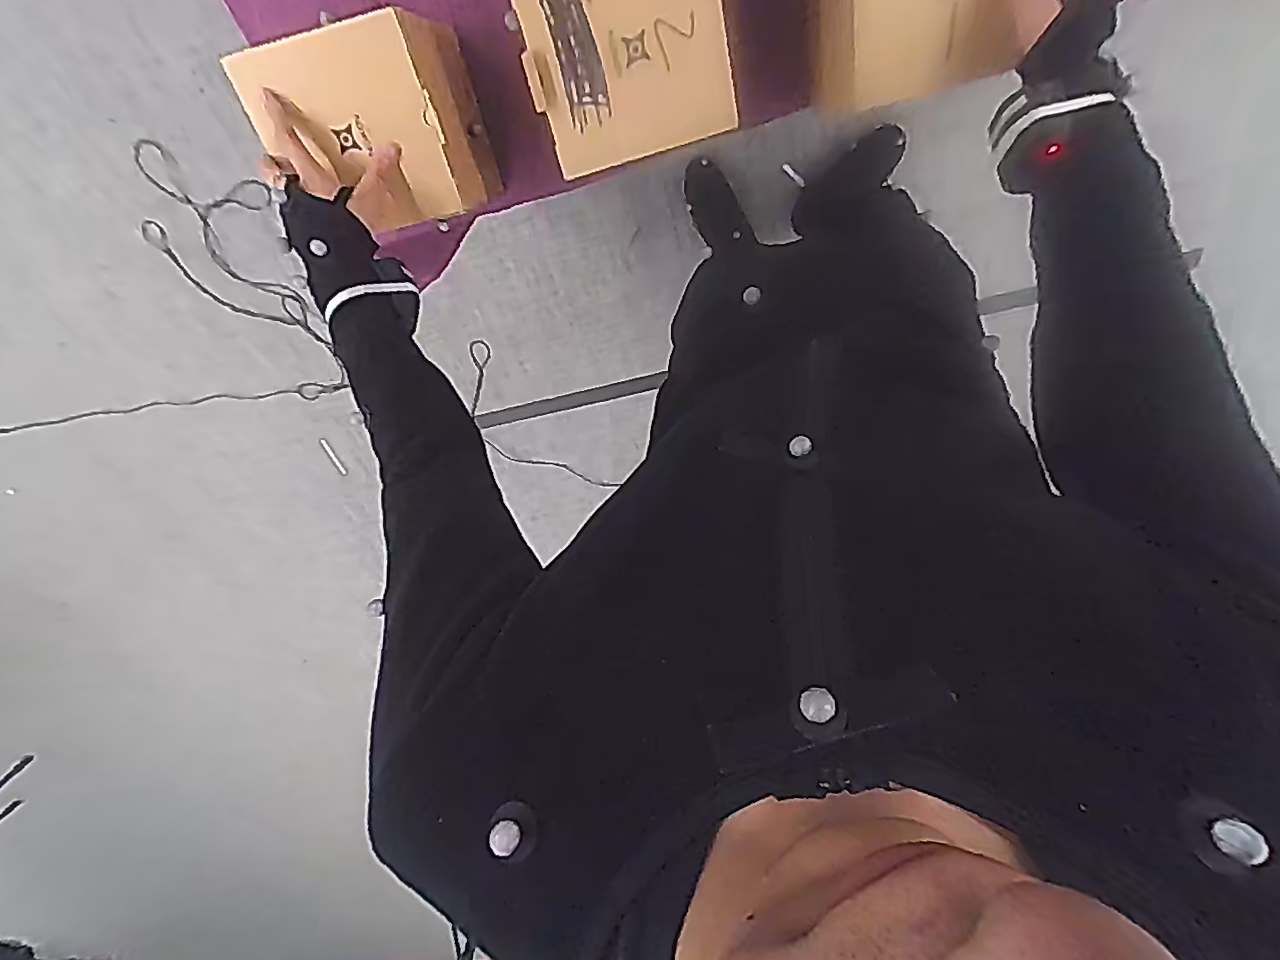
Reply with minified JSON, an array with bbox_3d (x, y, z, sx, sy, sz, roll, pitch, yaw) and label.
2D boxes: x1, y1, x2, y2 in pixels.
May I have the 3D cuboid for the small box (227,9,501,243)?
[{"bbox_3d":[-0.275,-0.373,0.588,0.179,0.176,0.168,-10,123,7],"label":"small box"}]
